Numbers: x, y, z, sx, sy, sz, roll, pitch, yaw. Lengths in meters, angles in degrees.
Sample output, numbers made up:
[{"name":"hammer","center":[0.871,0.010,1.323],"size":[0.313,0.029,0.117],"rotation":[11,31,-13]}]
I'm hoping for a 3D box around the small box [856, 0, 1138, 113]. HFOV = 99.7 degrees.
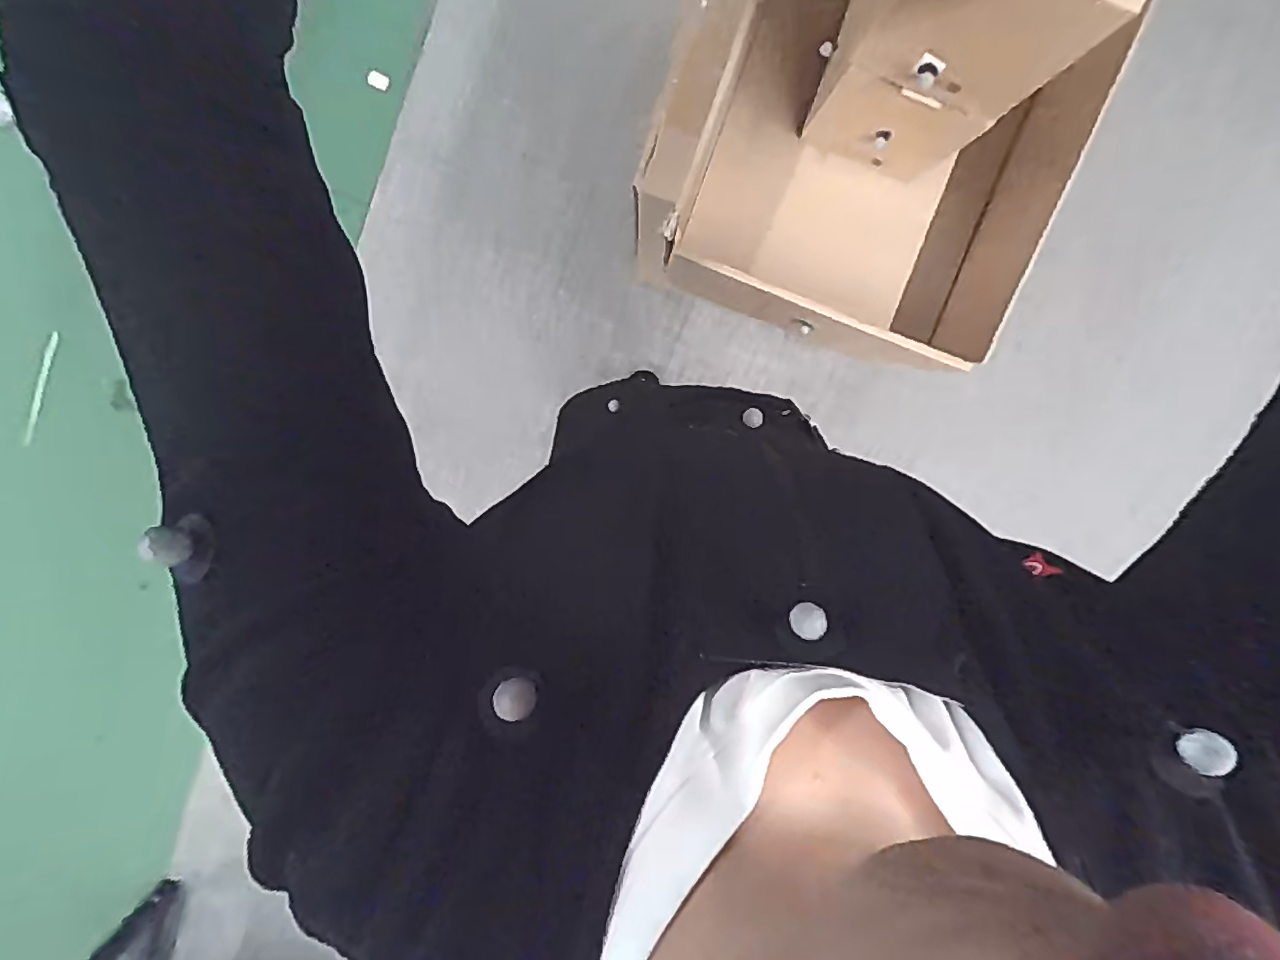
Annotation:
[{"name":"small box","center":[0.313,-0.464,0.458],"size":[0.168,0.176,0.179],"rotation":[18,100,-4]}]
